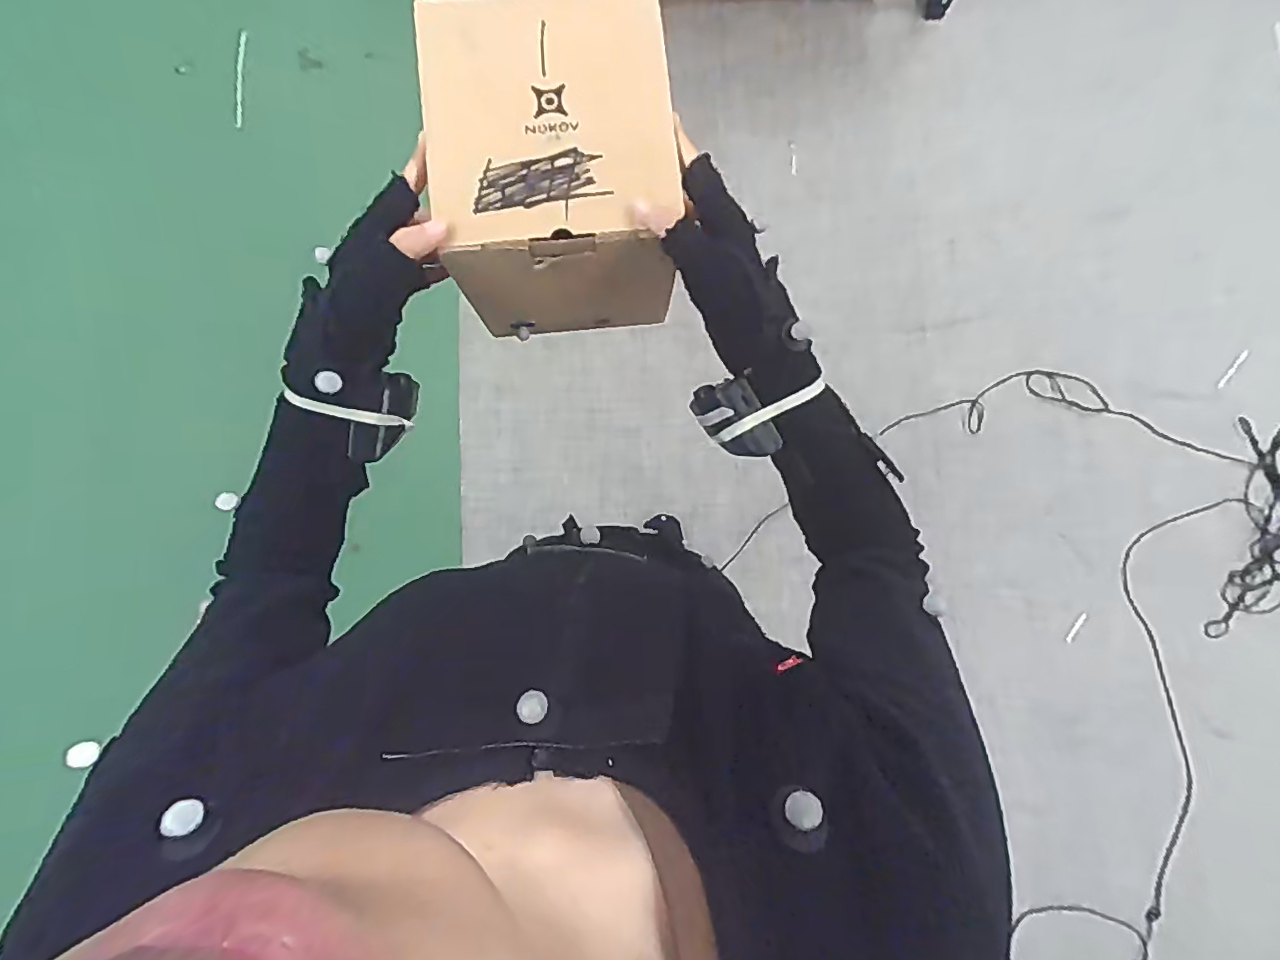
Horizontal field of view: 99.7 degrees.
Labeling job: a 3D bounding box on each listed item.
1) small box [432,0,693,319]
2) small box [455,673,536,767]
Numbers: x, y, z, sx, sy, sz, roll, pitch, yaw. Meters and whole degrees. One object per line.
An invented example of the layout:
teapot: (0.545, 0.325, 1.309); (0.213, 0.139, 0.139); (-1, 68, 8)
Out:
small box: (-0.055, -0.242, 0.439); (0.168, 0.176, 0.179); (-5, 85, -3)
small box: (-0.358, 0.600, 1.367); (0.168, 0.176, 0.179); (-1, 83, -1)
